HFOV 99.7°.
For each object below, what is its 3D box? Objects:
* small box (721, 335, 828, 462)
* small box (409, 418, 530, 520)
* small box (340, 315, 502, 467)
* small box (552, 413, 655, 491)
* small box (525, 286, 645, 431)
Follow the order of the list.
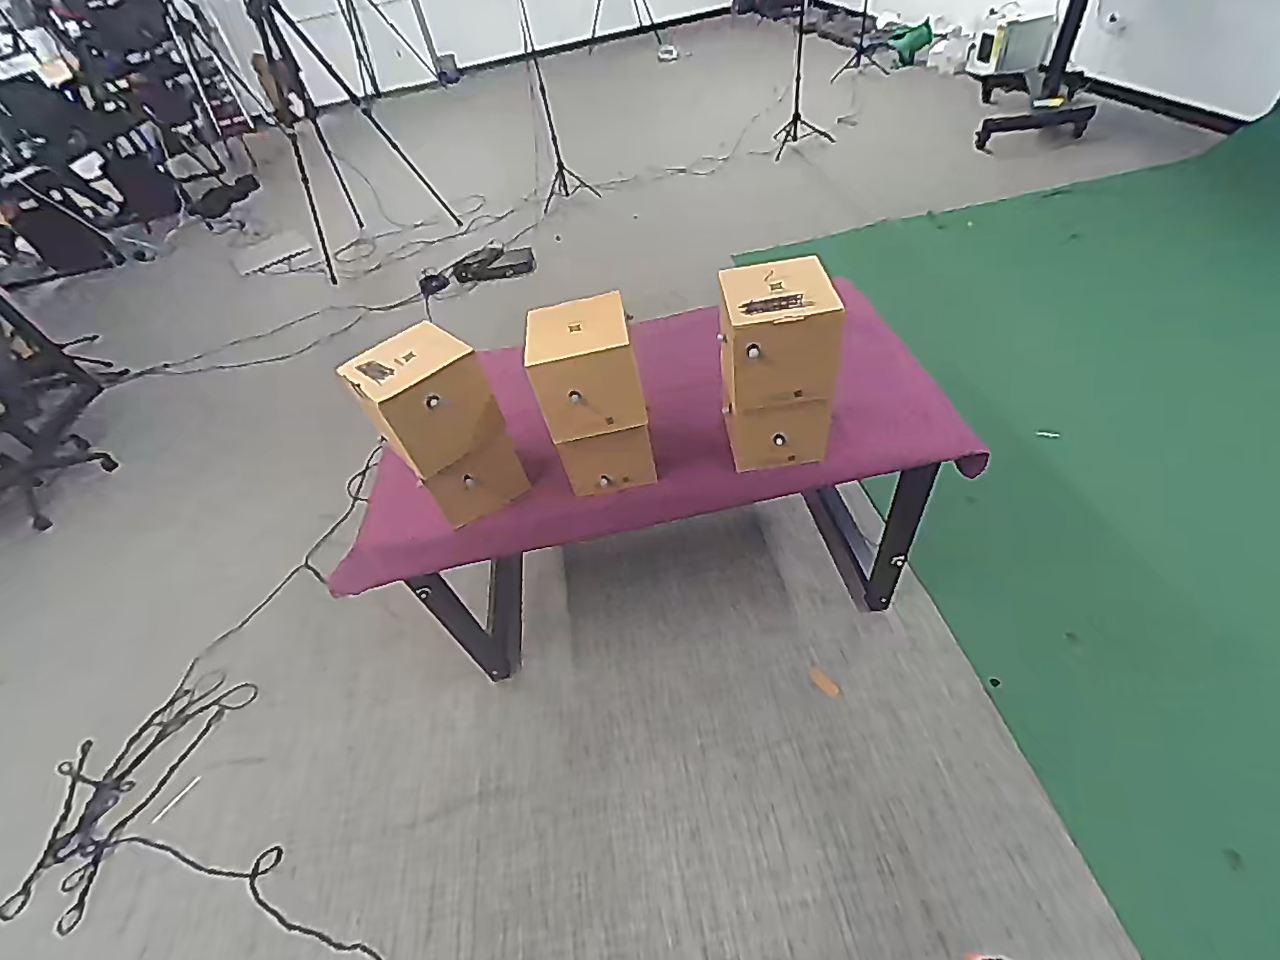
[{"bbox_3d":[0.250,-0.149,1.035,0.168,0.176,0.179,-7,48,4],"label":"small box"},{"bbox_3d":[-0.345,-0.053,1.067,0.179,0.176,0.168,-30,49,-15],"label":"small box"},{"bbox_3d":[-0.369,-0.152,0.936,0.179,0.176,0.168,-39,52,-24],"label":"small box"},{"bbox_3d":[-0.069,-0.104,1.060,0.168,0.176,0.179,-11,47,3],"label":"small box"},{"bbox_3d":[-0.090,-0.201,0.930,0.168,0.176,0.179,-12,45,2],"label":"small box"}]
